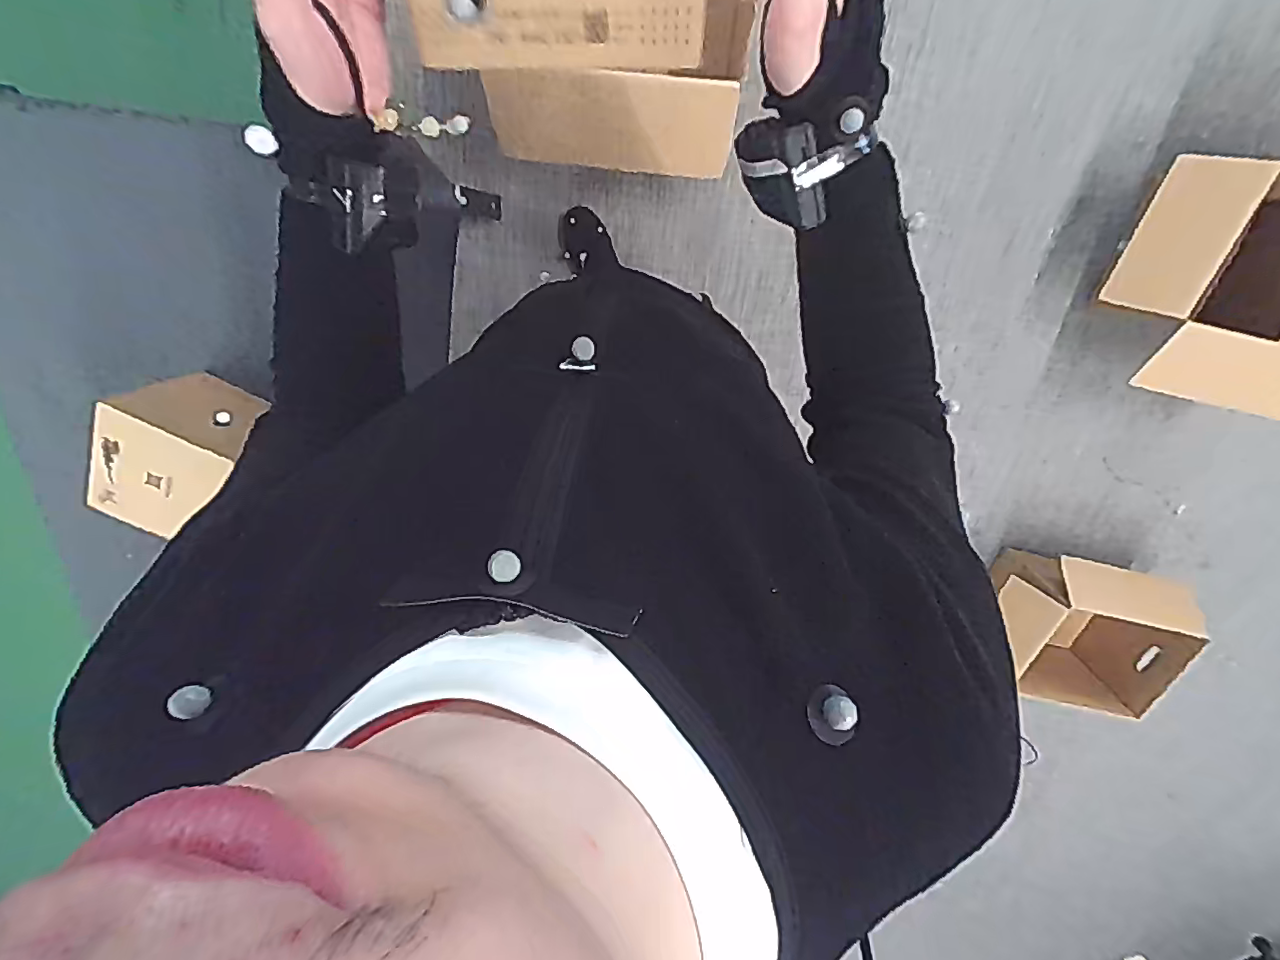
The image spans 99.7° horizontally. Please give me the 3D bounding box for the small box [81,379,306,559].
[{"bbox_3d":[-0.618,-0.025,0.768,0.179,0.176,0.168,26,111,-9],"label":"small box"}]
